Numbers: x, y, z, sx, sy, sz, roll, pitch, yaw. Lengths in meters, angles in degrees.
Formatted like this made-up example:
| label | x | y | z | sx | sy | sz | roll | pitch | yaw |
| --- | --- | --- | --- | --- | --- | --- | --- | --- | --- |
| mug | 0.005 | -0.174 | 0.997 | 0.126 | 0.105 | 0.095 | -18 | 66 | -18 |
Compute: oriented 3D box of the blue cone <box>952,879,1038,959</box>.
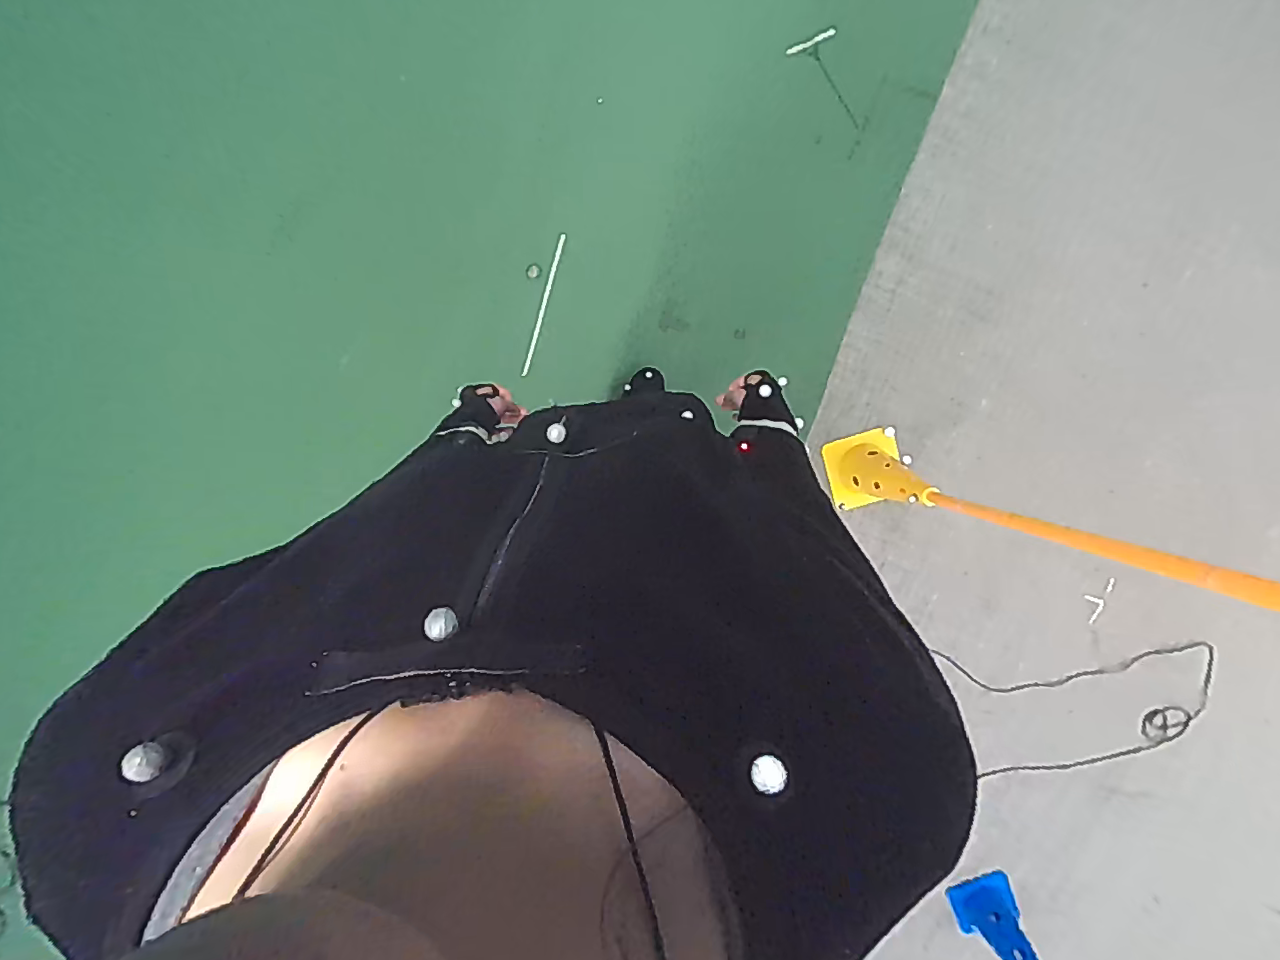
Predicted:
| label | x | y | z | sx | sy | sz | roll | pitch | yaw |
| --- | --- | --- | --- | --- | --- | --- | --- | --- | --- |
| blue cone | 1.131 | 1.422 | 1.594 | 0.192 | 0.380 | 0.193 | -26 | 102 | 5 |
